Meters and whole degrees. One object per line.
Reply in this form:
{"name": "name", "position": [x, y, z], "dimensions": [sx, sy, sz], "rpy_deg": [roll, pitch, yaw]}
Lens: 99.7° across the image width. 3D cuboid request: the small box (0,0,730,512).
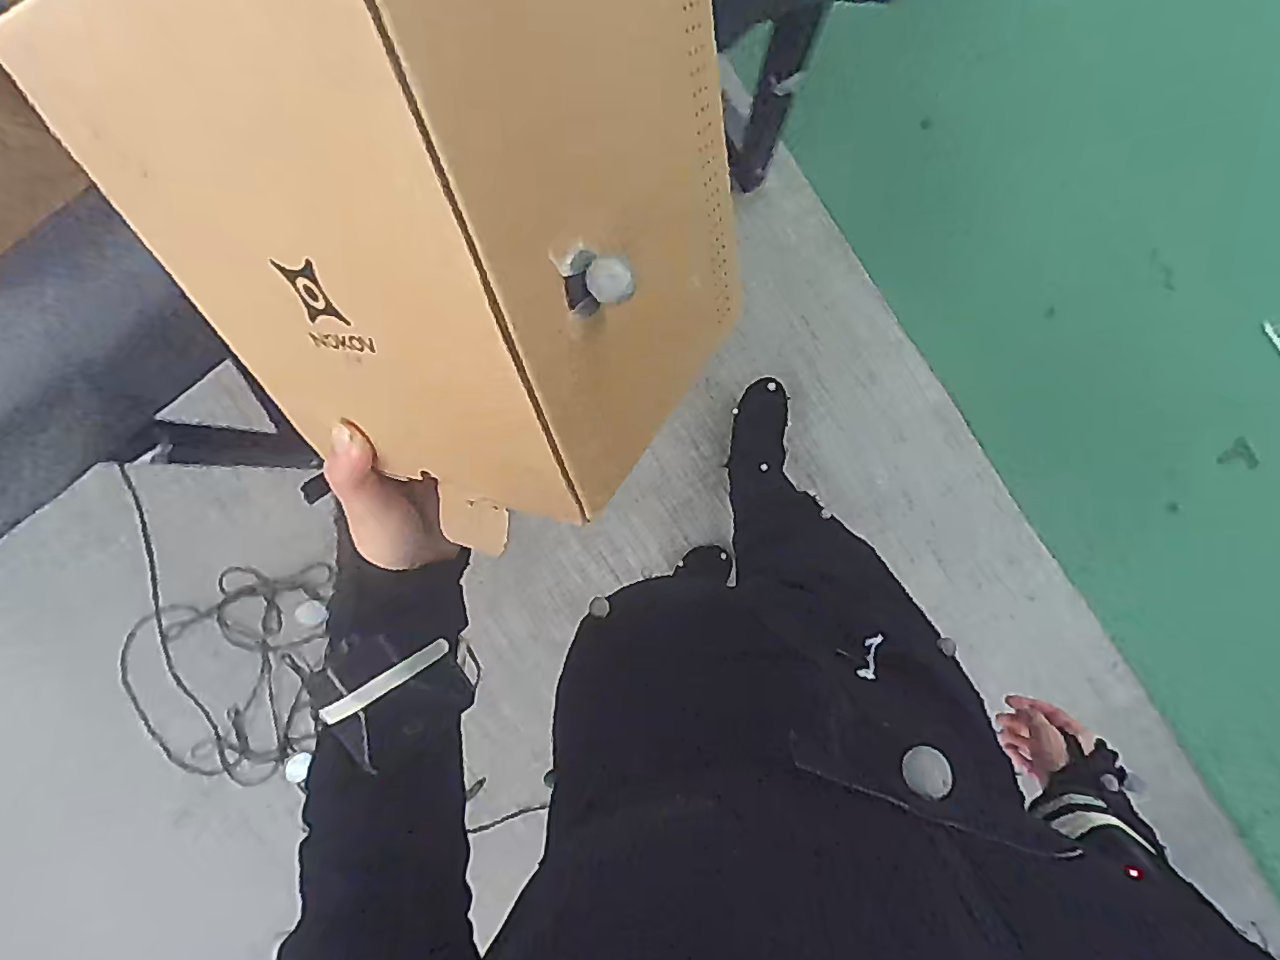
{"name": "small box", "position": [-0.071, -0.116, 0.229], "dimensions": [0.168, 0.179, 0.176], "rpy_deg": [10, 48, 27]}
